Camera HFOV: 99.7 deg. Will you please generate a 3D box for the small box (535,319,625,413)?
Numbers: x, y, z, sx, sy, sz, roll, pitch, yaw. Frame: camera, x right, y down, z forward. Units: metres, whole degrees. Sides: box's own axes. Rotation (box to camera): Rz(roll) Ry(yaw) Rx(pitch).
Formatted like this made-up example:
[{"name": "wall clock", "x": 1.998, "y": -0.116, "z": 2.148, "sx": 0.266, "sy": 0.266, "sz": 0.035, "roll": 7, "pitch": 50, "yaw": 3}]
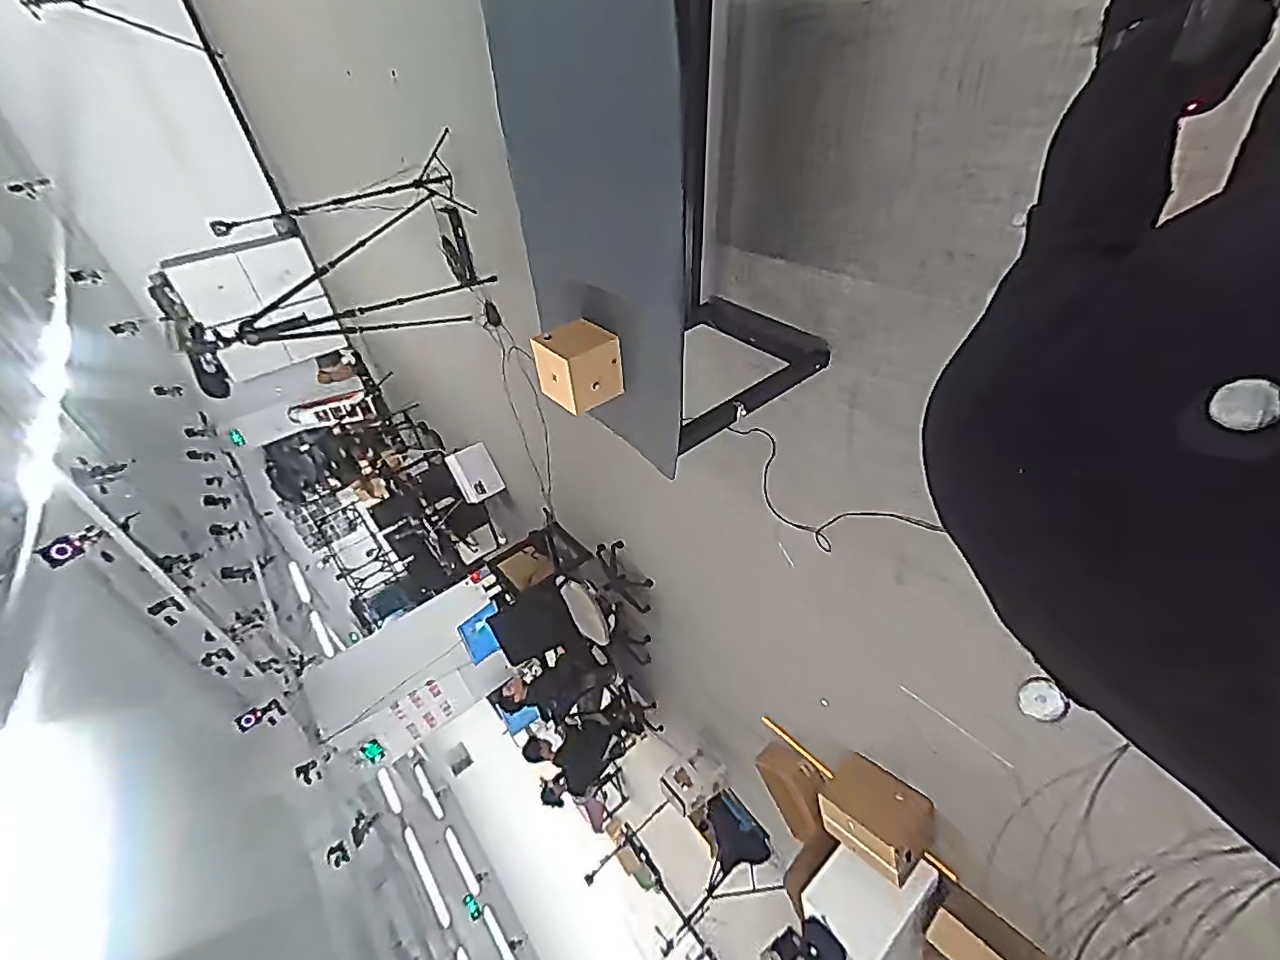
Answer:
[{"name": "small box", "x": -0.152, "y": -0.311, "z": 1.445, "sx": 0.179, "sy": 0.176, "sz": 0.168, "roll": 37, "pitch": 146, "yaw": 39}]
